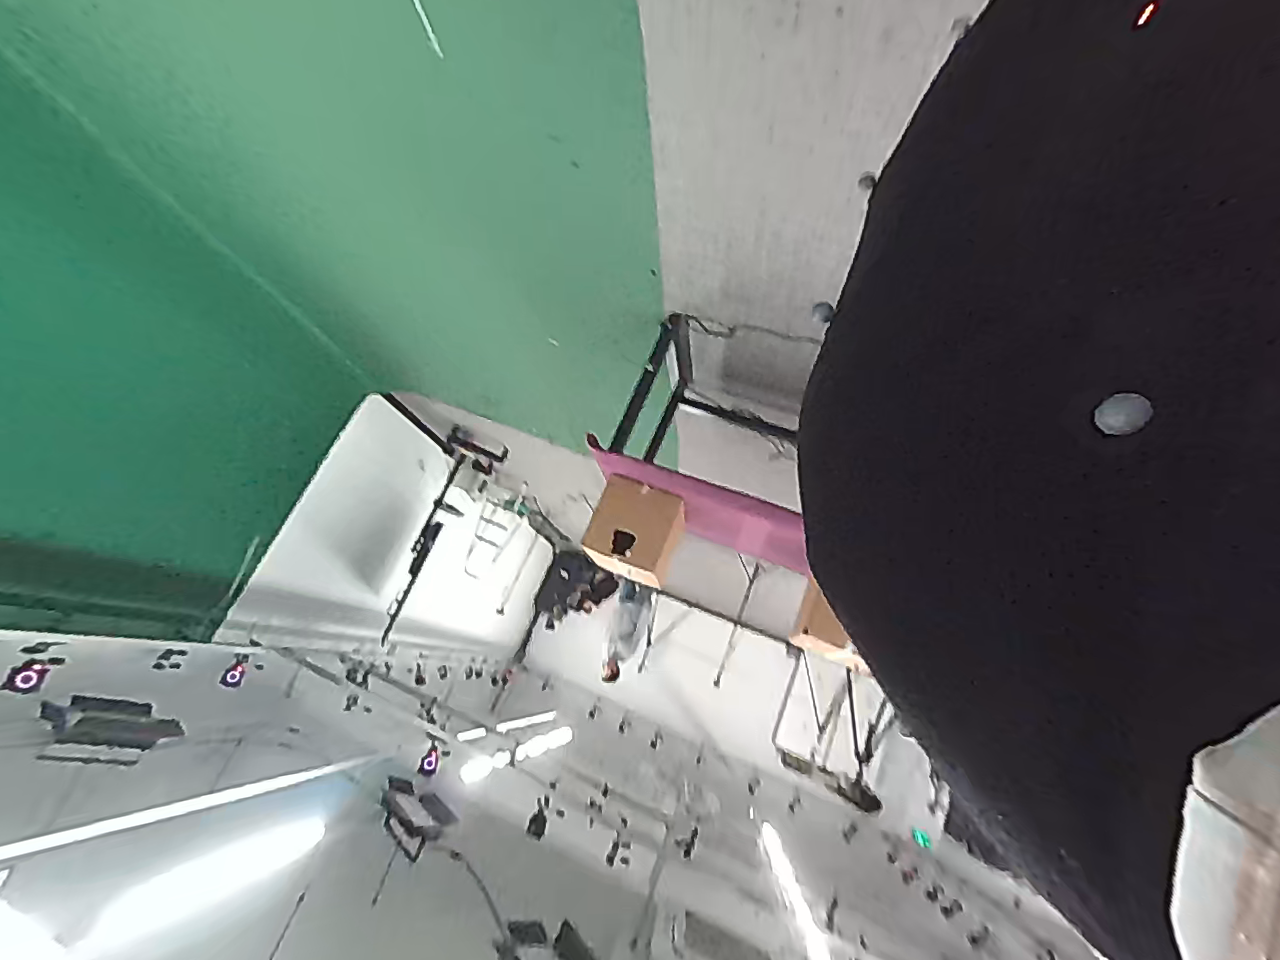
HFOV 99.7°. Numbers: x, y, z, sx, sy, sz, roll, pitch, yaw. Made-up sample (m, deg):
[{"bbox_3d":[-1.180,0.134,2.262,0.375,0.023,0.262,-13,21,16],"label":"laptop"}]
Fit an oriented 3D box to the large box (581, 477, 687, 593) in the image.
[{"bbox_3d":[-0.004,0.235,2.207,0.320,0.320,0.408,18,162,12],"label":"large box"}]
